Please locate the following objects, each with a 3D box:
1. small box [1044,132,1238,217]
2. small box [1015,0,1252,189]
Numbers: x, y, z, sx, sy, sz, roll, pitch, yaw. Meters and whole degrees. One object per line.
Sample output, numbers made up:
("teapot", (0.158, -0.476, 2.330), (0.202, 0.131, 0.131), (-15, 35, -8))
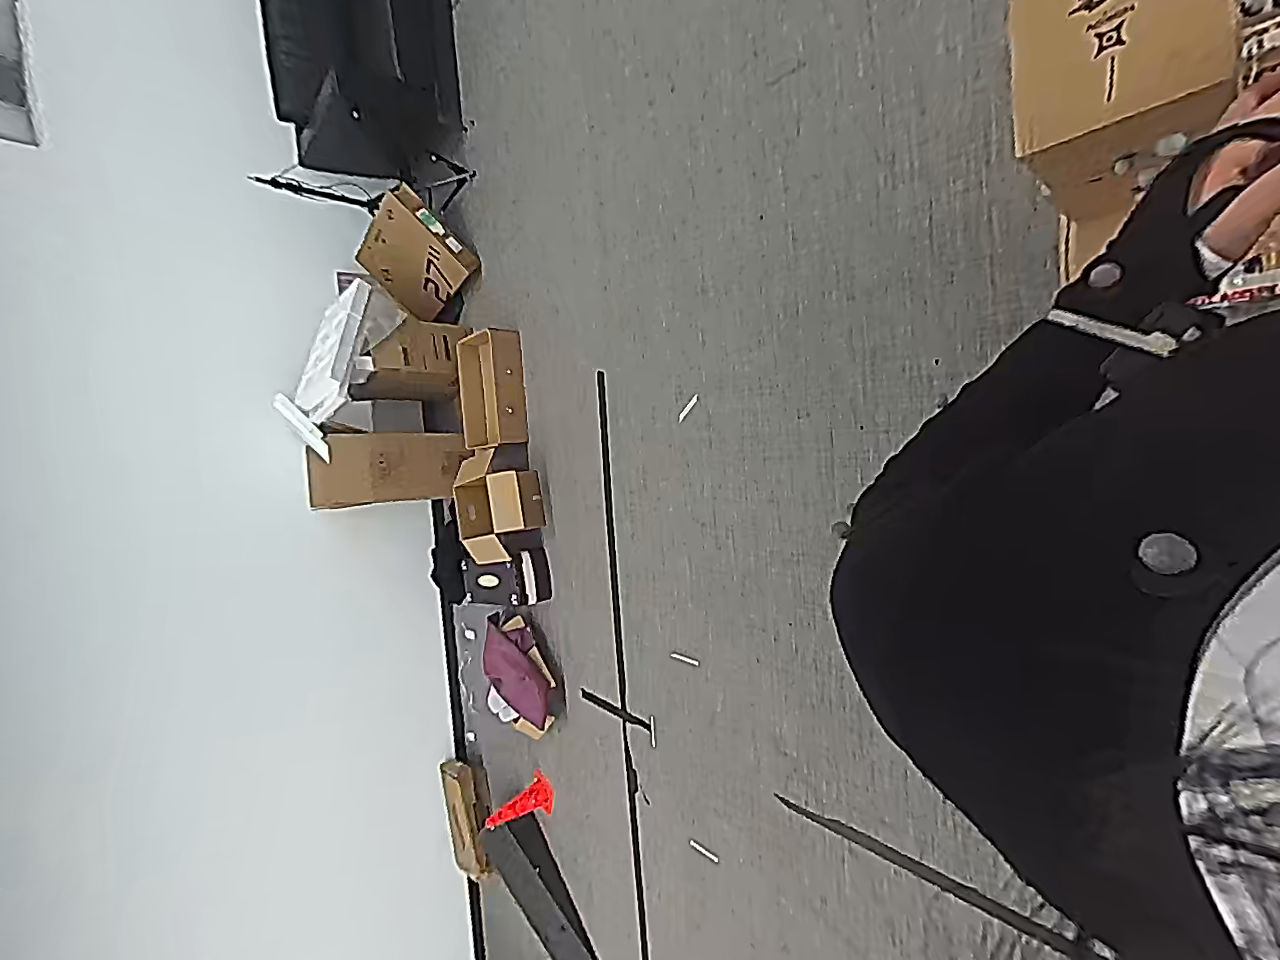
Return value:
("small box", (0.631, -0.465, 0.687), (0.168, 0.176, 0.179), (-5, 94, 51))
("small box", (0.516, -0.441, 0.570), (0.168, 0.176, 0.179), (1, 98, 50))
